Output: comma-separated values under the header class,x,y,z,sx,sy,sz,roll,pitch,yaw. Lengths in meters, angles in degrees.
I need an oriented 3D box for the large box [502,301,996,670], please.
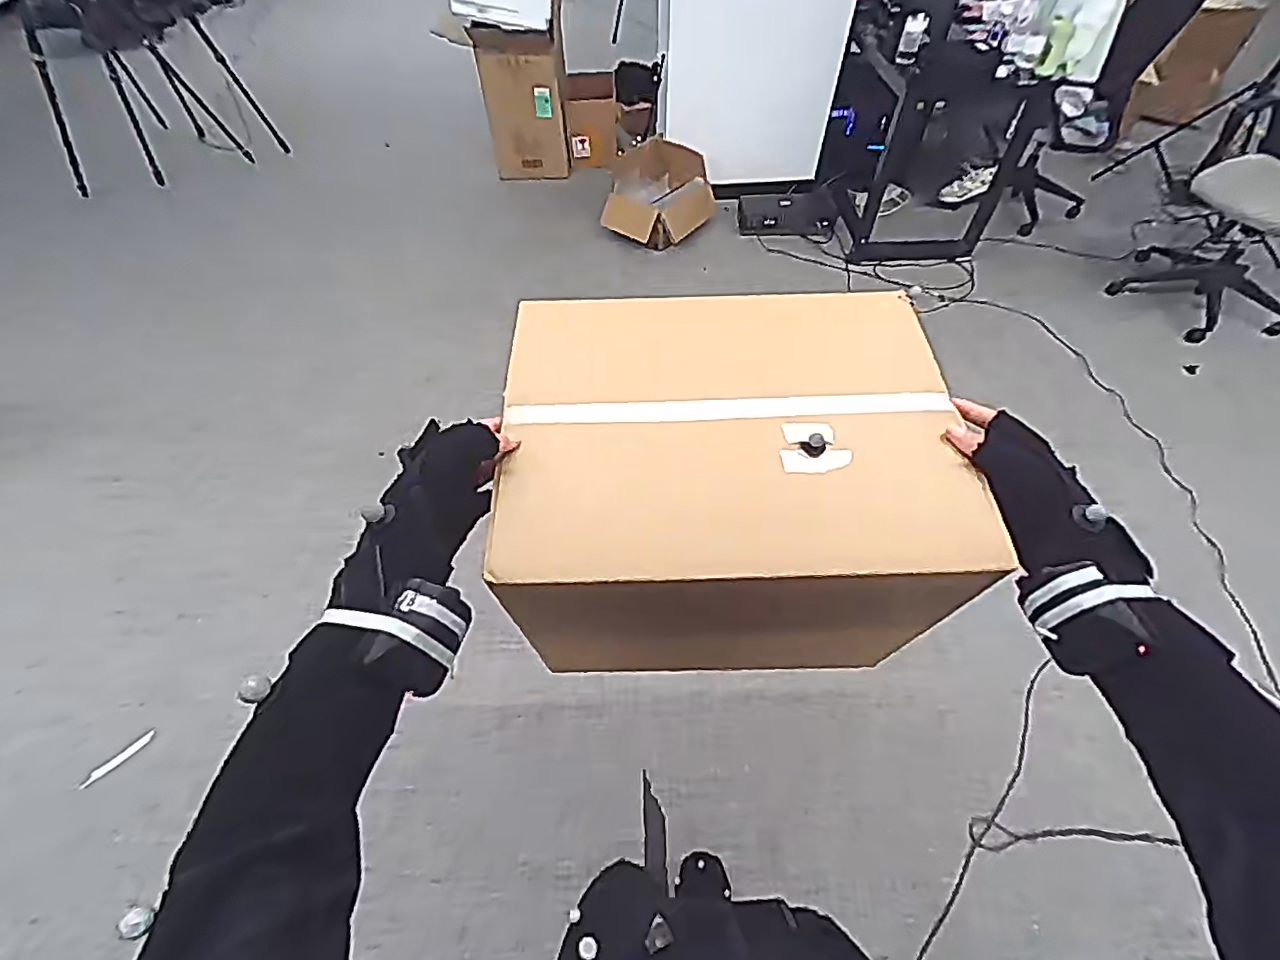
class,x,y,z,sx,sy,sz,roll,pitch,yaw
large box,0.082,0.022,0.630,0.408,0.320,0.320,-2,59,0
